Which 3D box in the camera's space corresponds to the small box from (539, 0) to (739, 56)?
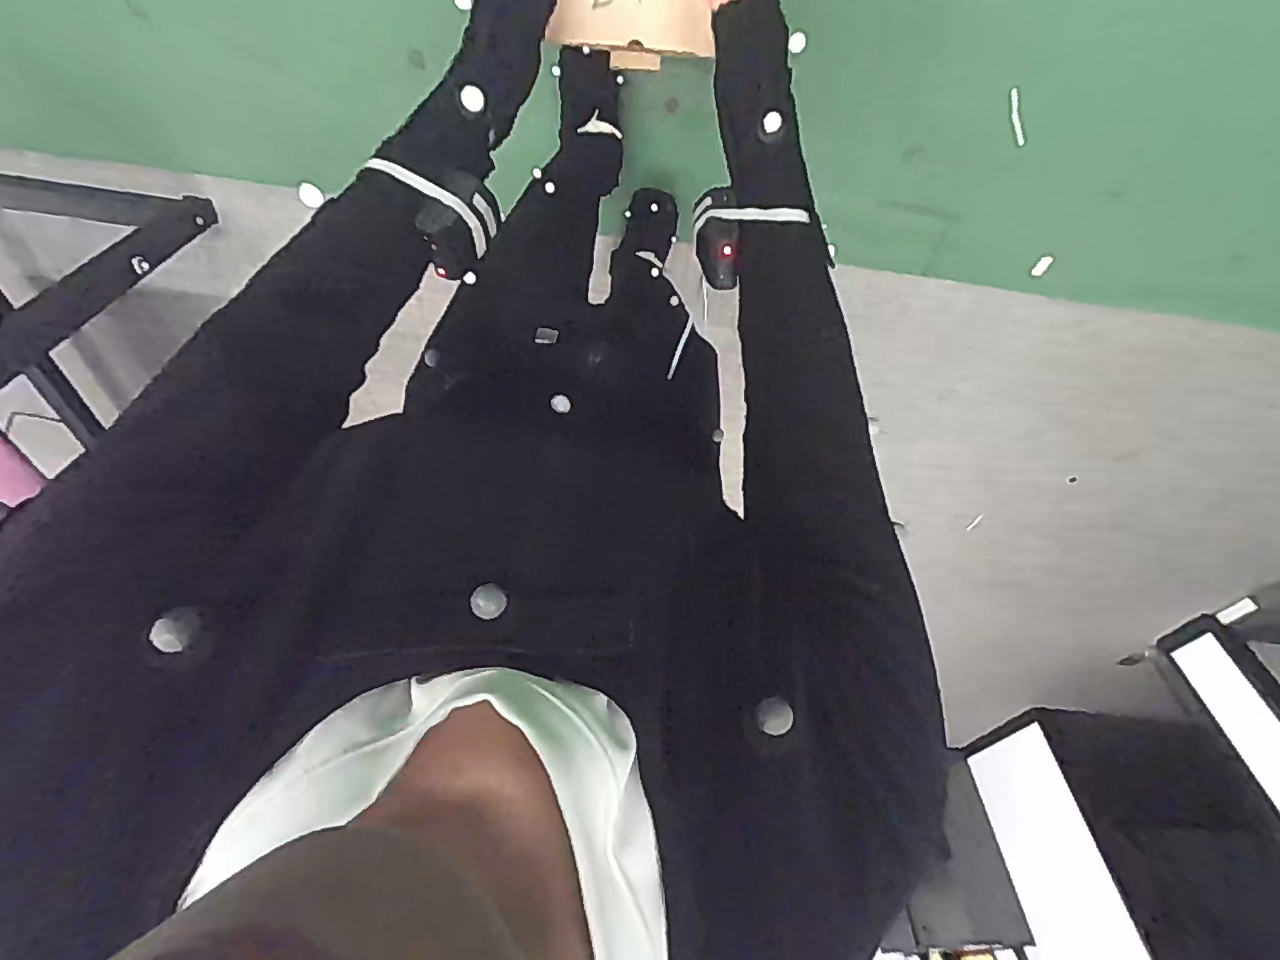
[{"bbox_3d":[0.004,-0.487,0.458,0.168,0.176,0.179,3,135,-3],"label":"small box"}]
